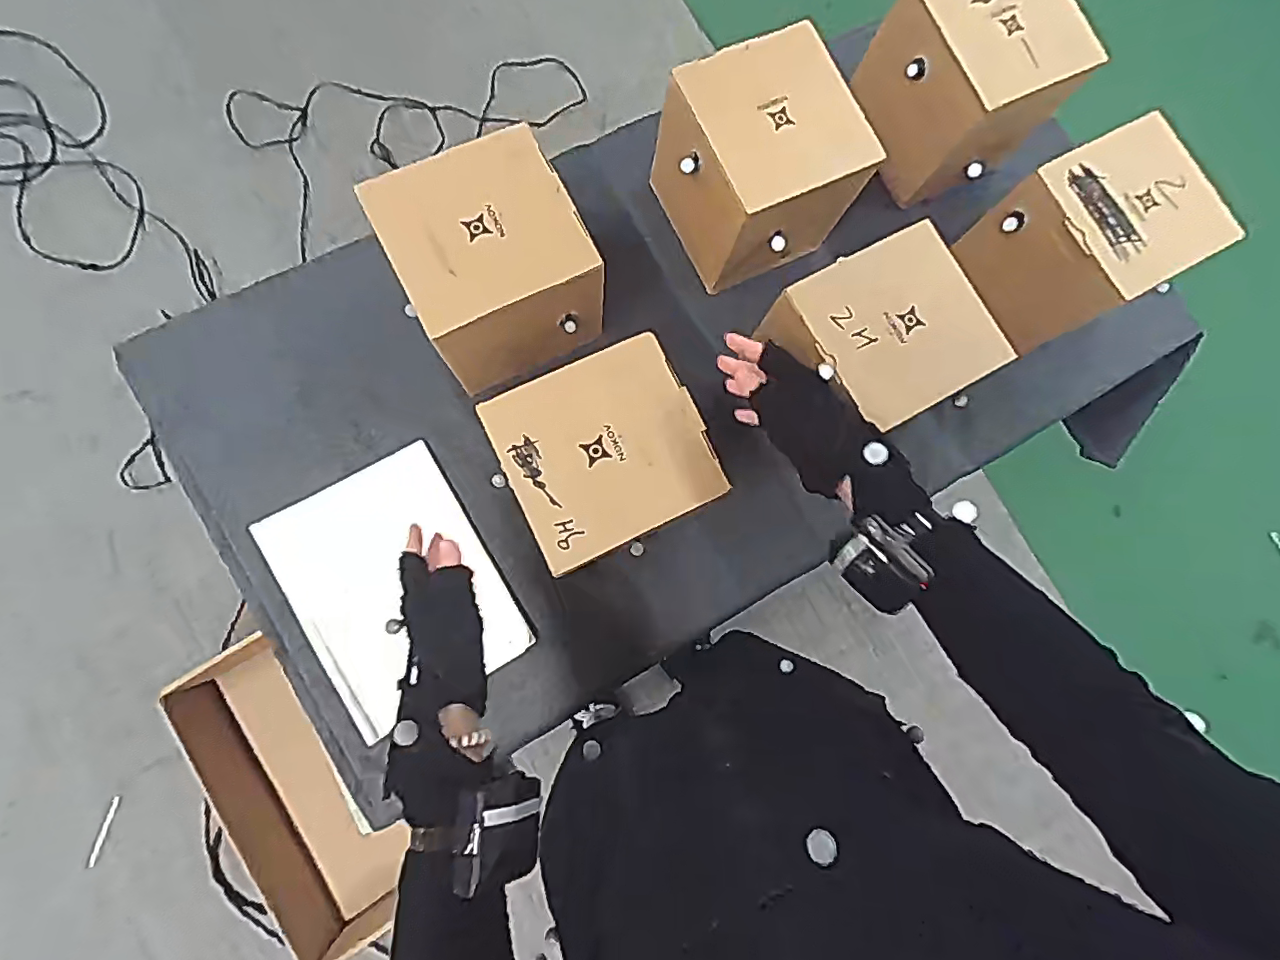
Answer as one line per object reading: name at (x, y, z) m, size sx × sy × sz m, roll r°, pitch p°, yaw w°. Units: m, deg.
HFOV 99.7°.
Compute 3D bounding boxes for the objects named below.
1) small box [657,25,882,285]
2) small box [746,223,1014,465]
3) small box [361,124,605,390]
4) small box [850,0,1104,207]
small box at (0.133, -0.353, 0.624) m, size 0.168 × 0.176 × 0.179 m, roll -25°, pitch 84°, yaw -8°
small box at (0.244, -0.135, 0.596) m, size 0.179 × 0.176 × 0.168 m, roll -28°, pitch 83°, yaw -8°
small box at (-0.152, -0.221, 0.575) m, size 0.179 × 0.176 × 0.168 m, roll -26°, pitch 83°, yaw -9°
small box at (0.390, -0.482, 0.663) m, size 0.168 × 0.176 × 0.179 m, roll -26°, pitch 85°, yaw -8°
